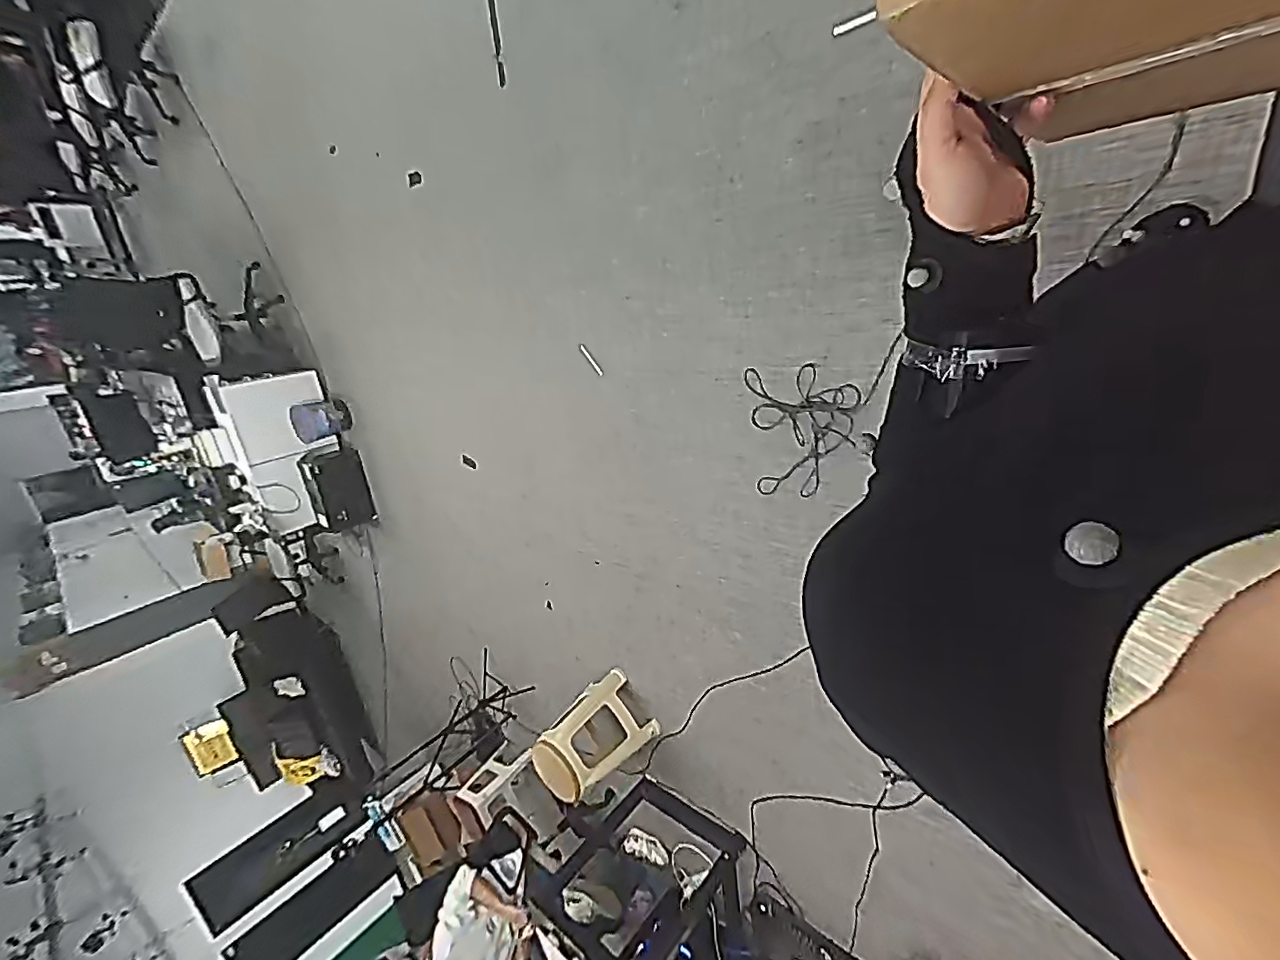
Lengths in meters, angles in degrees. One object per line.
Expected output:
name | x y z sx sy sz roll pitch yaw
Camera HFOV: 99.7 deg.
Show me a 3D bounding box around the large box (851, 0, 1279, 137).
large box | 0.319 -0.350 0.150 0.408 0.320 0.320 12 115 46
